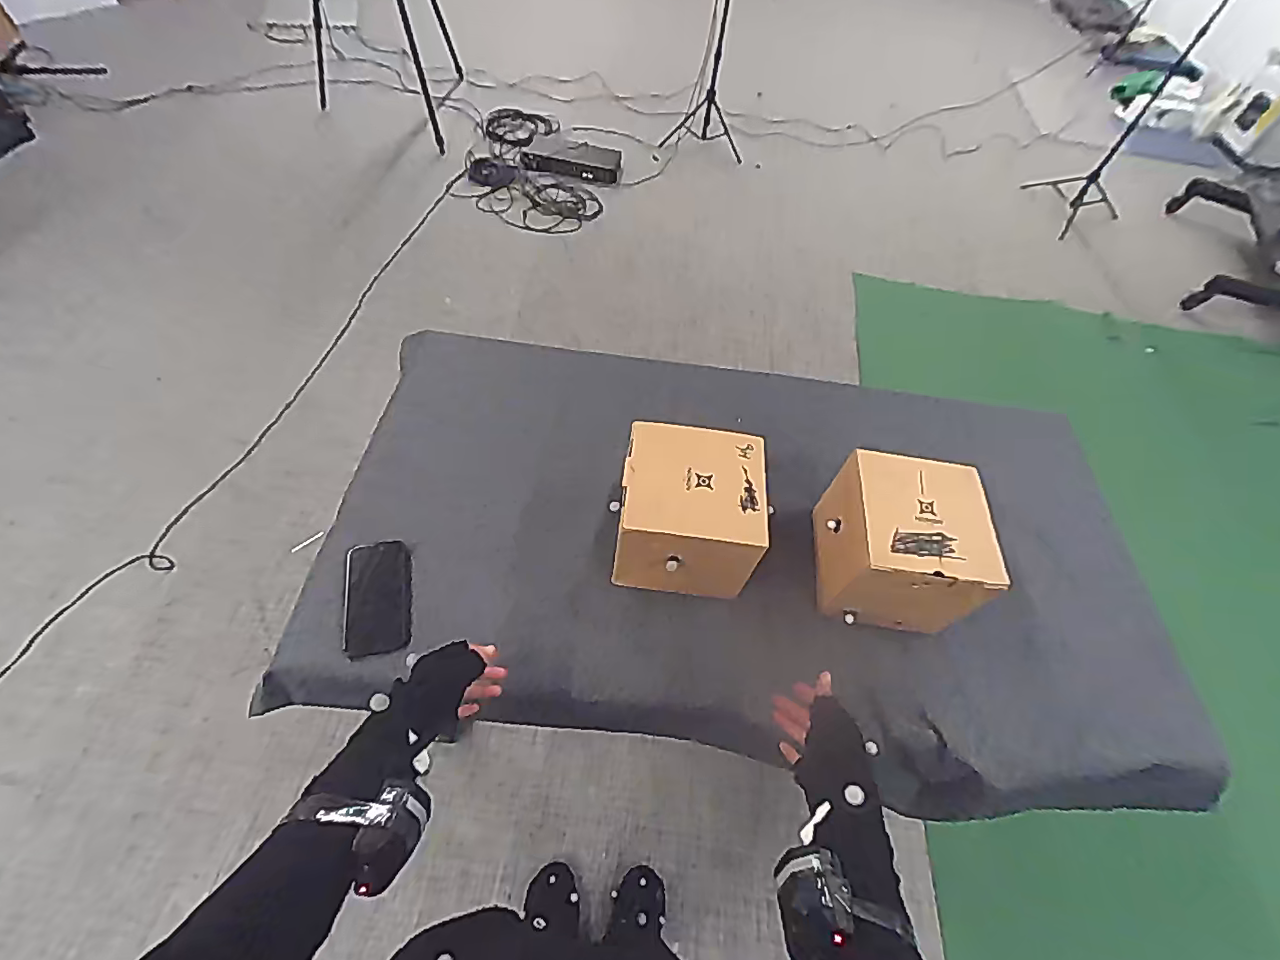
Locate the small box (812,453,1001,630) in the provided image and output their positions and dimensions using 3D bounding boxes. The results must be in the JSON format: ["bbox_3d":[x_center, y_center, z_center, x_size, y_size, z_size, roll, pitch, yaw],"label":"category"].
[{"bbox_3d":[0.348,0.091,0.746,0.168,0.176,0.179,9,55,-1],"label":"small box"}]

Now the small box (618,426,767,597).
[{"bbox_3d":[0.065,0.048,0.742,0.179,0.176,0.168,7,56,-1],"label":"small box"}]
